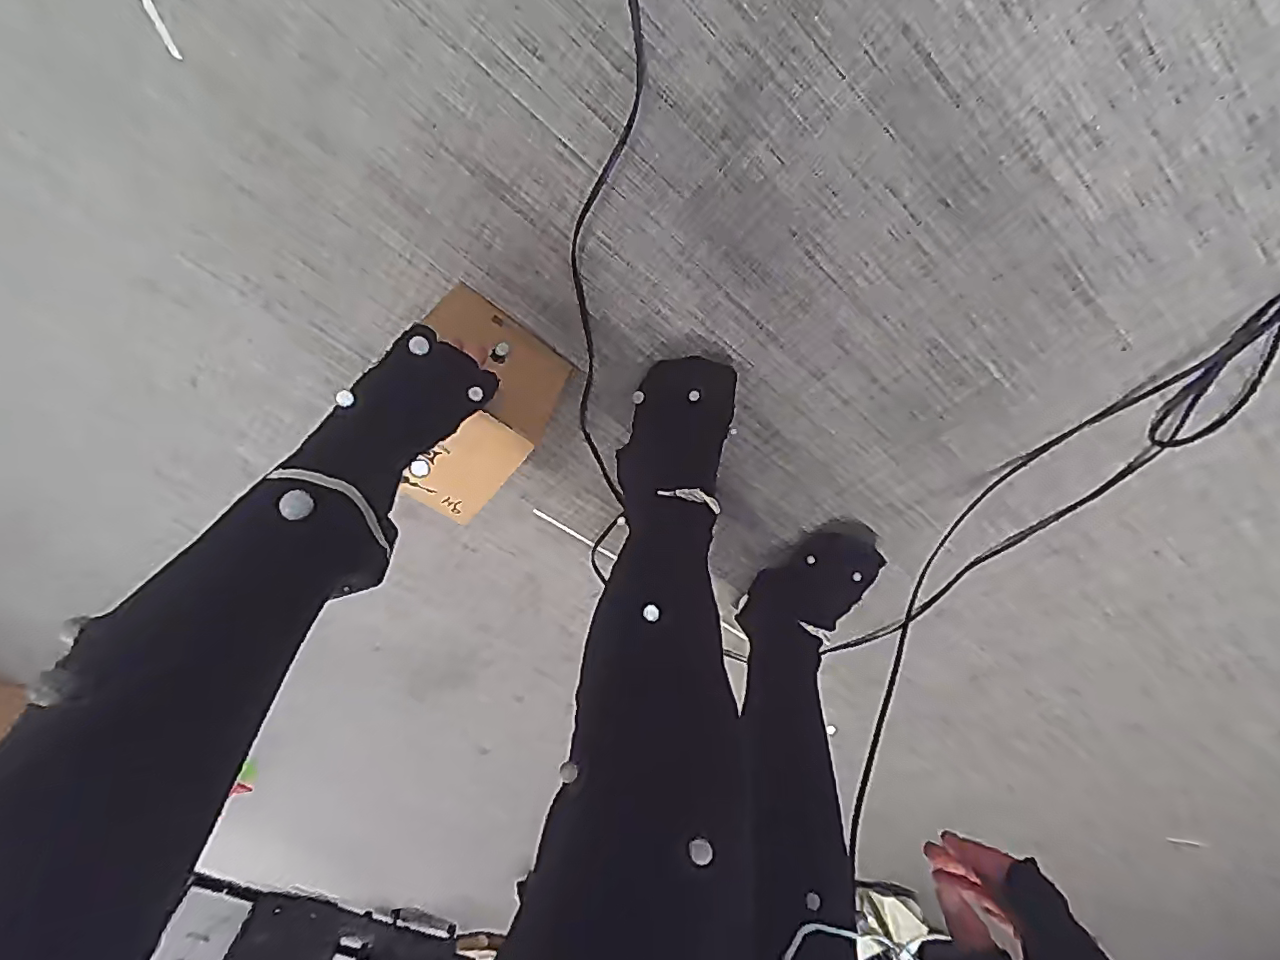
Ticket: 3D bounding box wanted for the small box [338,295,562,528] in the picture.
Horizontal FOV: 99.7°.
[{"bbox_3d":[-0.209,-0.082,0.637,0.168,0.176,0.179,36,127,-21],"label":"small box"}]
